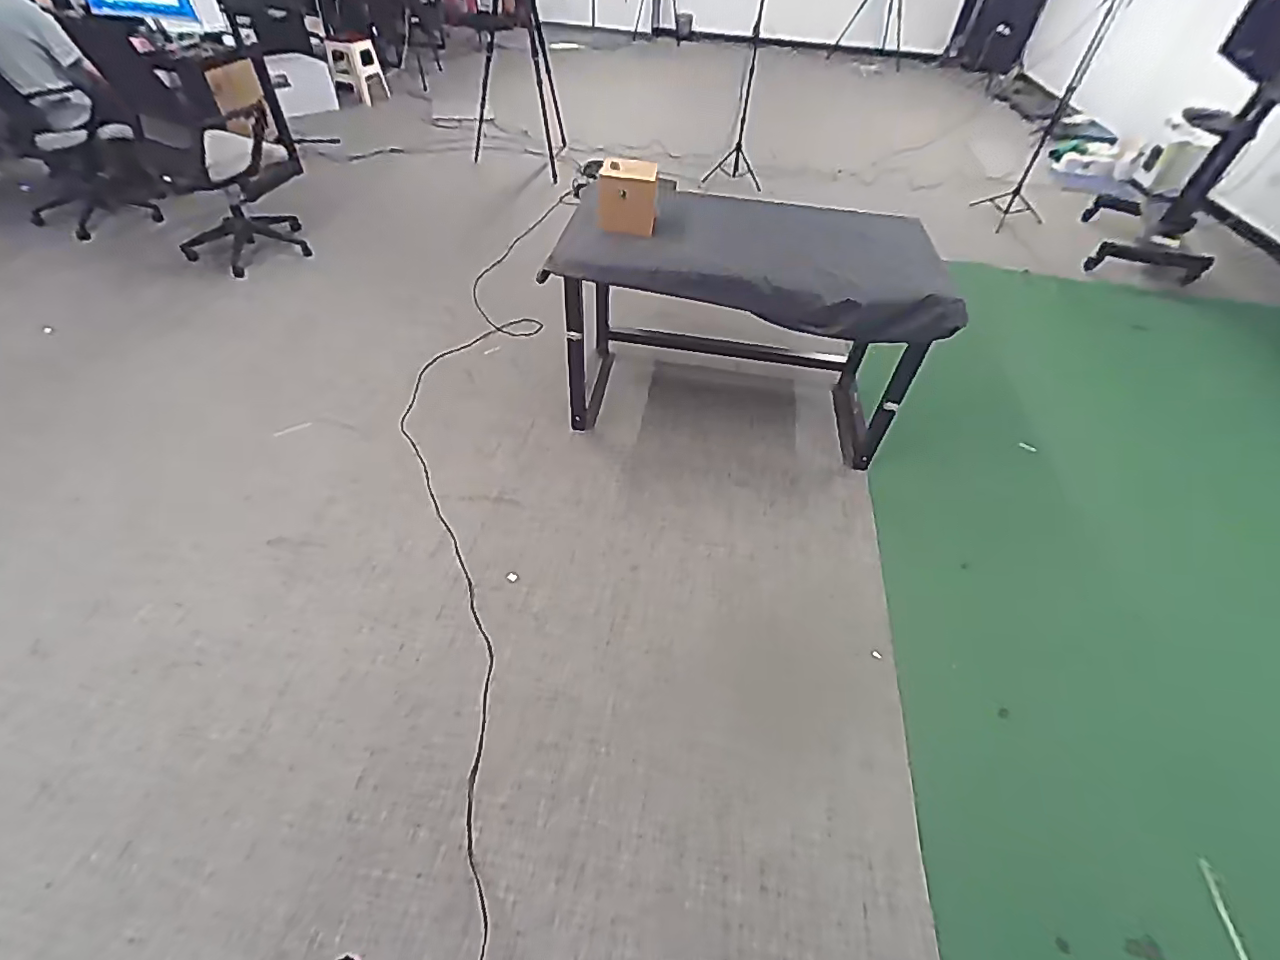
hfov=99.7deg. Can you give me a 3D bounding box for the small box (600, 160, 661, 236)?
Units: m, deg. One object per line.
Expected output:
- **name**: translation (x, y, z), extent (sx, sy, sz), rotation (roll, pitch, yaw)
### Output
- **small box**: translation (-0.033, -0.909, 1.744), extent (0.179, 0.176, 0.168), rotation (7, 47, 1)
